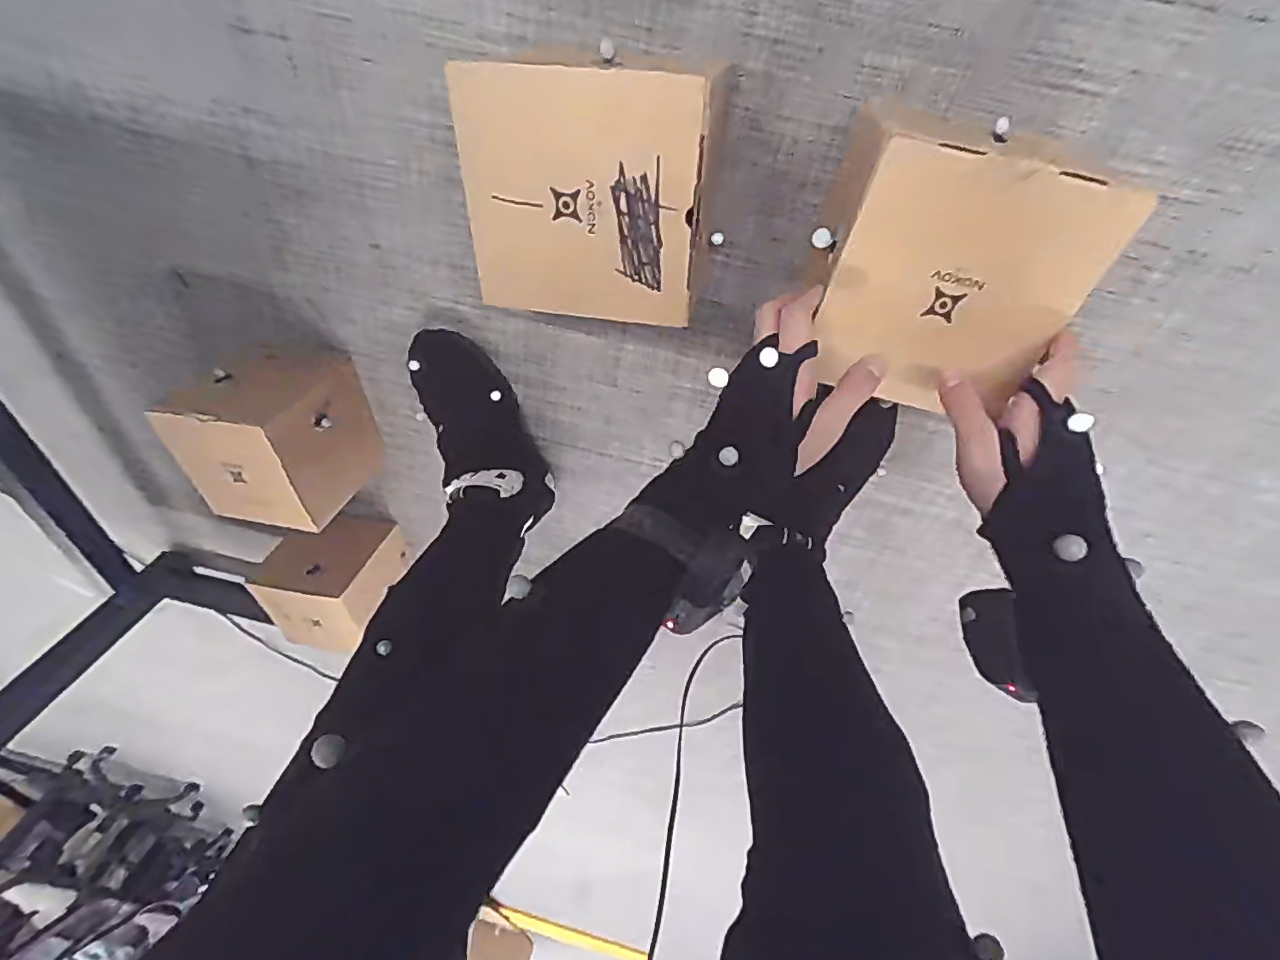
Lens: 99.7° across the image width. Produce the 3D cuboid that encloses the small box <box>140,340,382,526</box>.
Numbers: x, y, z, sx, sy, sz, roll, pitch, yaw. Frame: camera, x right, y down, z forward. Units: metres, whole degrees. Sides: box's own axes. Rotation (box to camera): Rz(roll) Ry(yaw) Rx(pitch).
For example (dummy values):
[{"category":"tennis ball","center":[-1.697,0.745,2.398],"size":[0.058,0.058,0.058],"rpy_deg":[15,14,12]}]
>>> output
[{"category":"small box","center":[-0.481,-0.068,0.722],"size":[0.168,0.176,0.179],"rpy_deg":[9,132,8]}]

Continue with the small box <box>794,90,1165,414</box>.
[{"category":"small box","center":[0.235,-0.187,0.435],"size":[0.168,0.176,0.179],"rpy_deg":[15,131,2]}]

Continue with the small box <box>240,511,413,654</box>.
[{"category":"small box","center":[-0.517,0.170,0.929],"size":[0.179,0.176,0.168],"rpy_deg":[7,130,9]}]

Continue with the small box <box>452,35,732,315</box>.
[{"category":"small box","center":[-0.024,-0.255,0.445],"size":[0.179,0.176,0.168],"rpy_deg":[10,130,7]}]
